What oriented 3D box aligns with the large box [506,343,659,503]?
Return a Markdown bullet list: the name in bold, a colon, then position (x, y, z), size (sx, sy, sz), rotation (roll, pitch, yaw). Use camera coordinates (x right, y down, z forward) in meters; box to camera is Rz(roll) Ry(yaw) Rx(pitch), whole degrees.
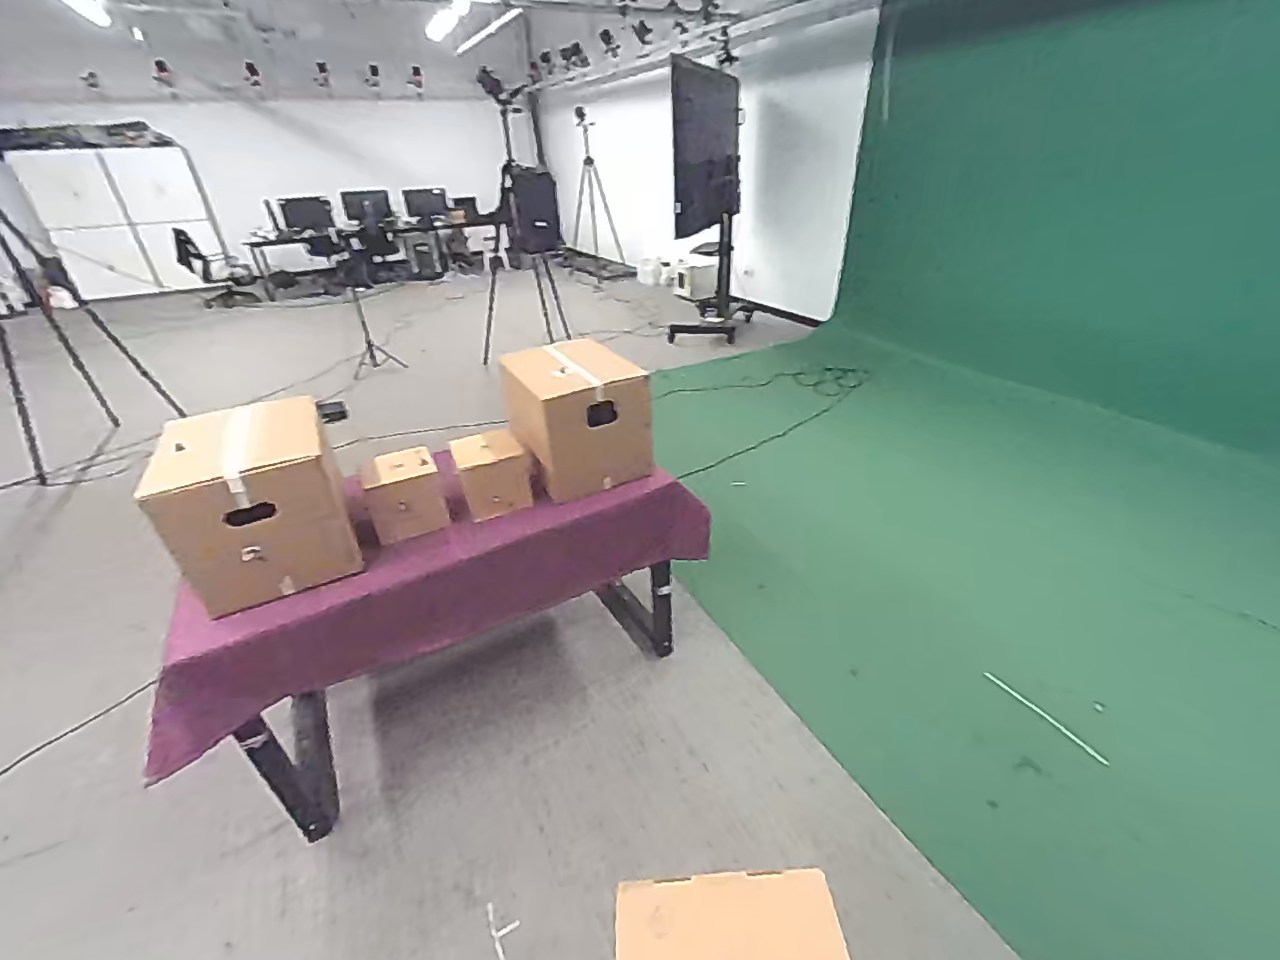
- **large box**: position (-0.175, -0.187, 1.615), size (0.320, 0.320, 0.408), rotation (-17, 35, -23)
